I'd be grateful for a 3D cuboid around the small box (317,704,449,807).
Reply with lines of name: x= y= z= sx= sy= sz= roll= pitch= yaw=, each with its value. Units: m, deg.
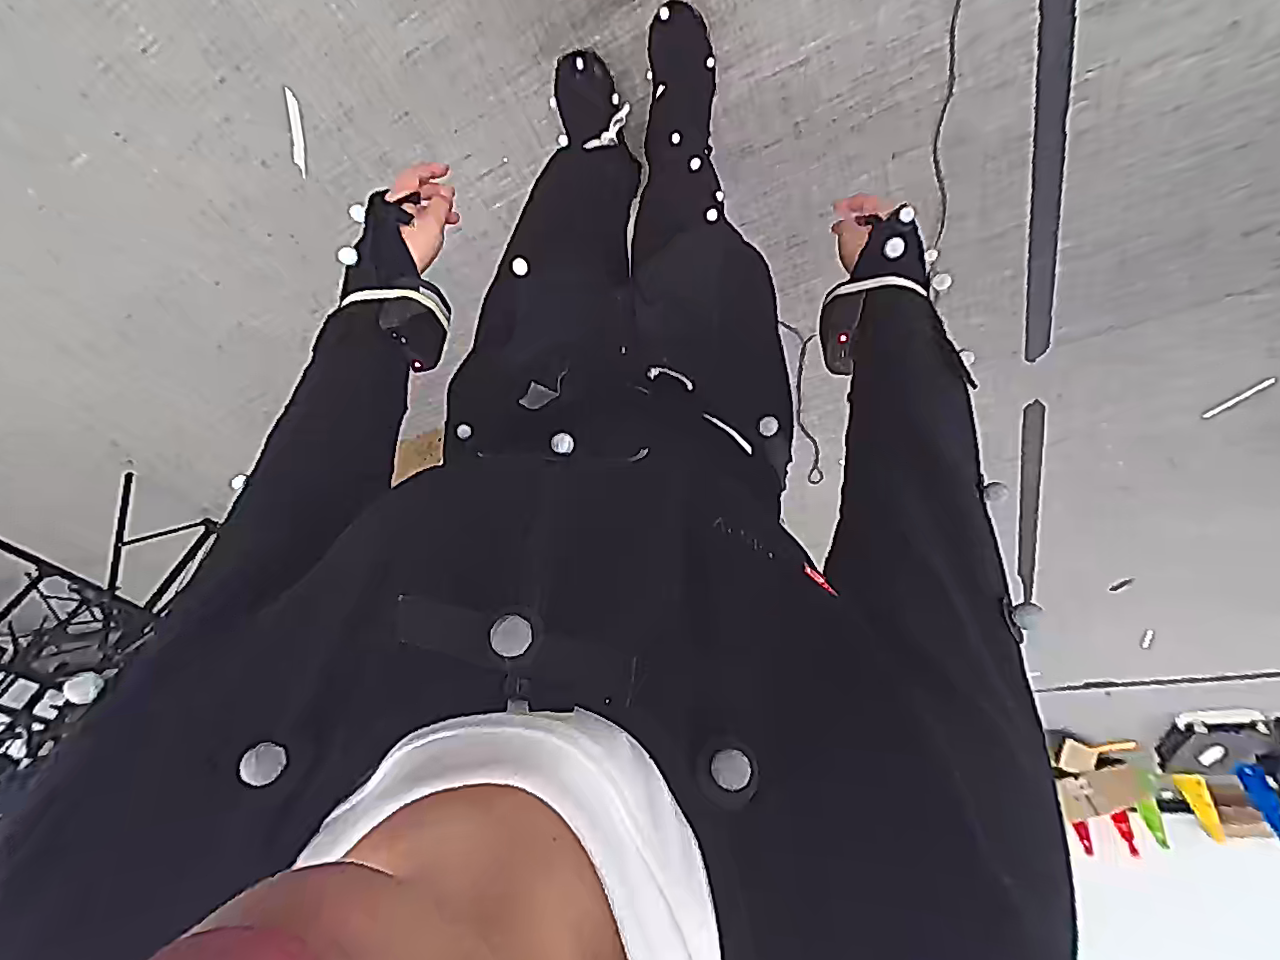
small box: x=-0.566 y=0.614 z=1.213 sx=0.179 sy=0.176 sz=0.168 roll=-12 pitch=136 yaw=21
